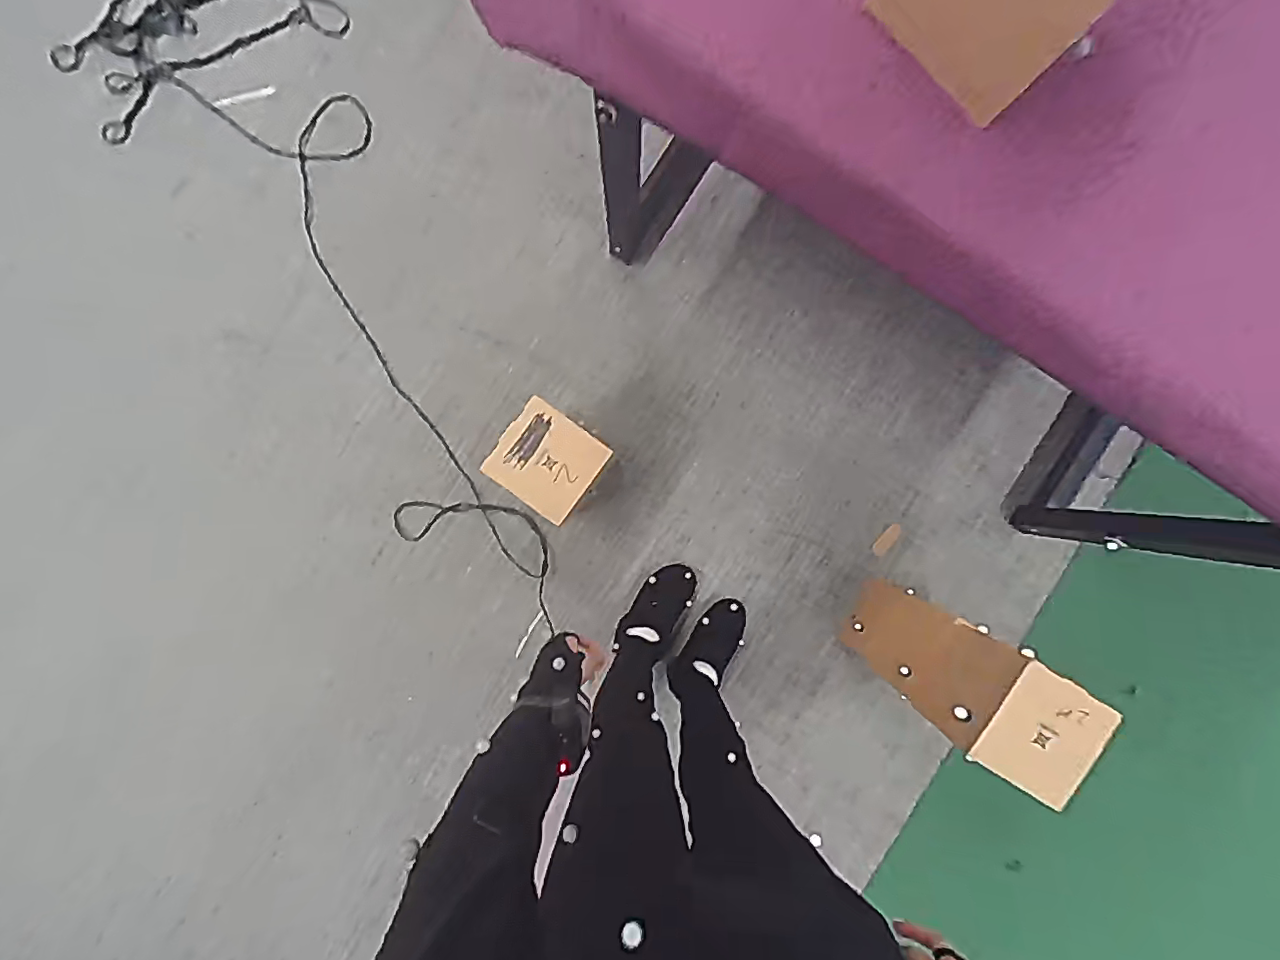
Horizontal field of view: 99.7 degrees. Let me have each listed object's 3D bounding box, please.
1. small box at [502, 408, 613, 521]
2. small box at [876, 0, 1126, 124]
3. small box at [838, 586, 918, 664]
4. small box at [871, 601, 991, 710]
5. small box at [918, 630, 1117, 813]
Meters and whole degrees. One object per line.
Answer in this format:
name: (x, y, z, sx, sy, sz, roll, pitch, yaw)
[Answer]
small box: (-0.168, -0.032, 1.187, 0.168, 0.176, 0.179, 37, 90, -1)
small box: (0.346, -0.467, 0.467, 0.168, 0.176, 0.179, -44, 92, 0)
small box: (0.575, 0.352, 1.200, 0.179, 0.176, 0.168, 35, 90, -1)
small box: (0.580, 0.358, 1.038, 0.168, 0.176, 0.179, 32, 91, -1)
small box: (0.589, 0.376, 0.874, 0.168, 0.176, 0.179, 33, 91, -2)
